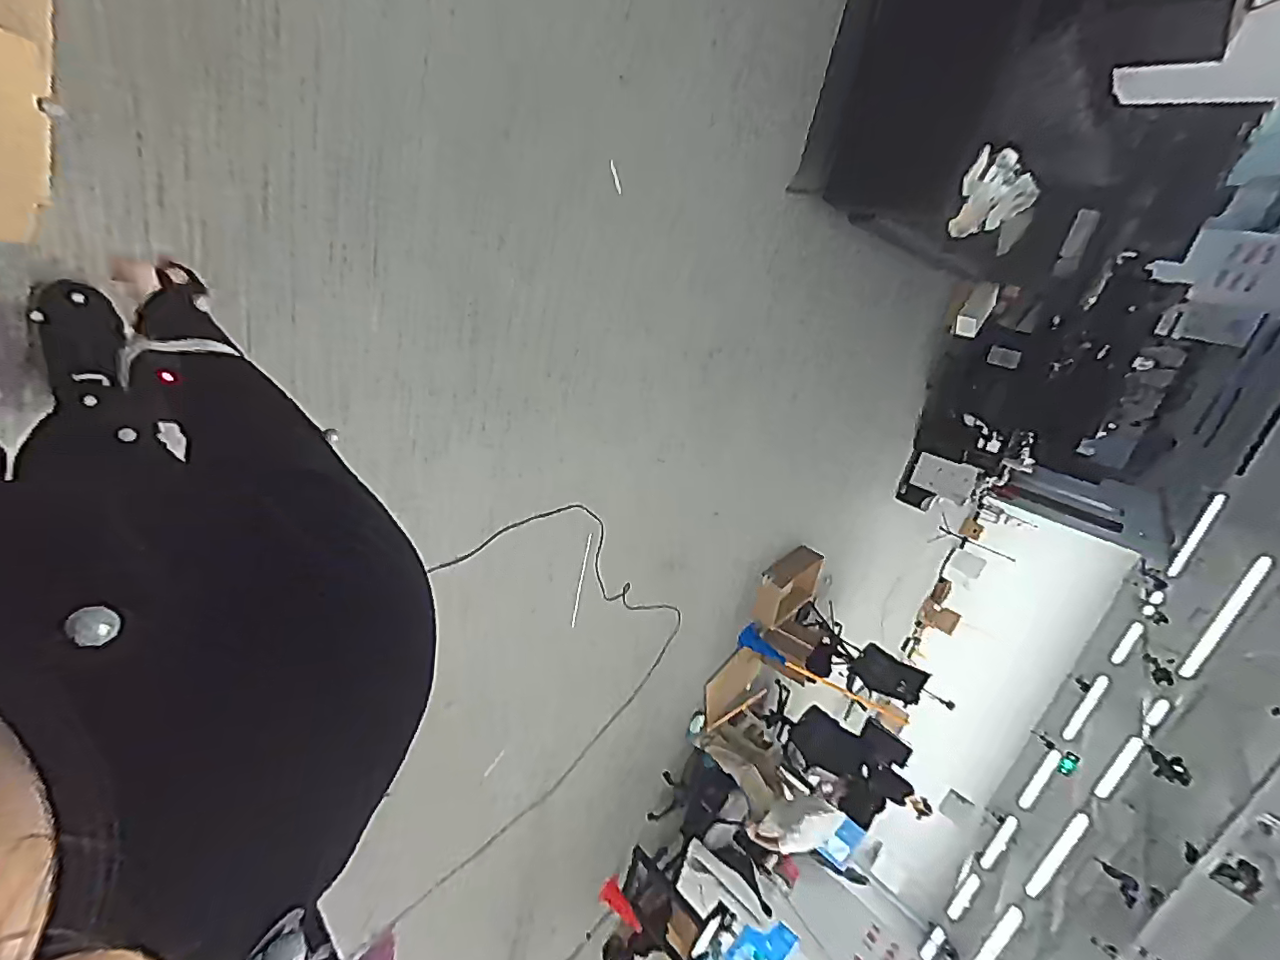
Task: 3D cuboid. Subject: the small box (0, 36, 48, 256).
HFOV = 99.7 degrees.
[{"bbox_3d":[-0.659,-0.322,0.481,0.168,0.176,0.179,-1,112,-51],"label":"small box"}]
